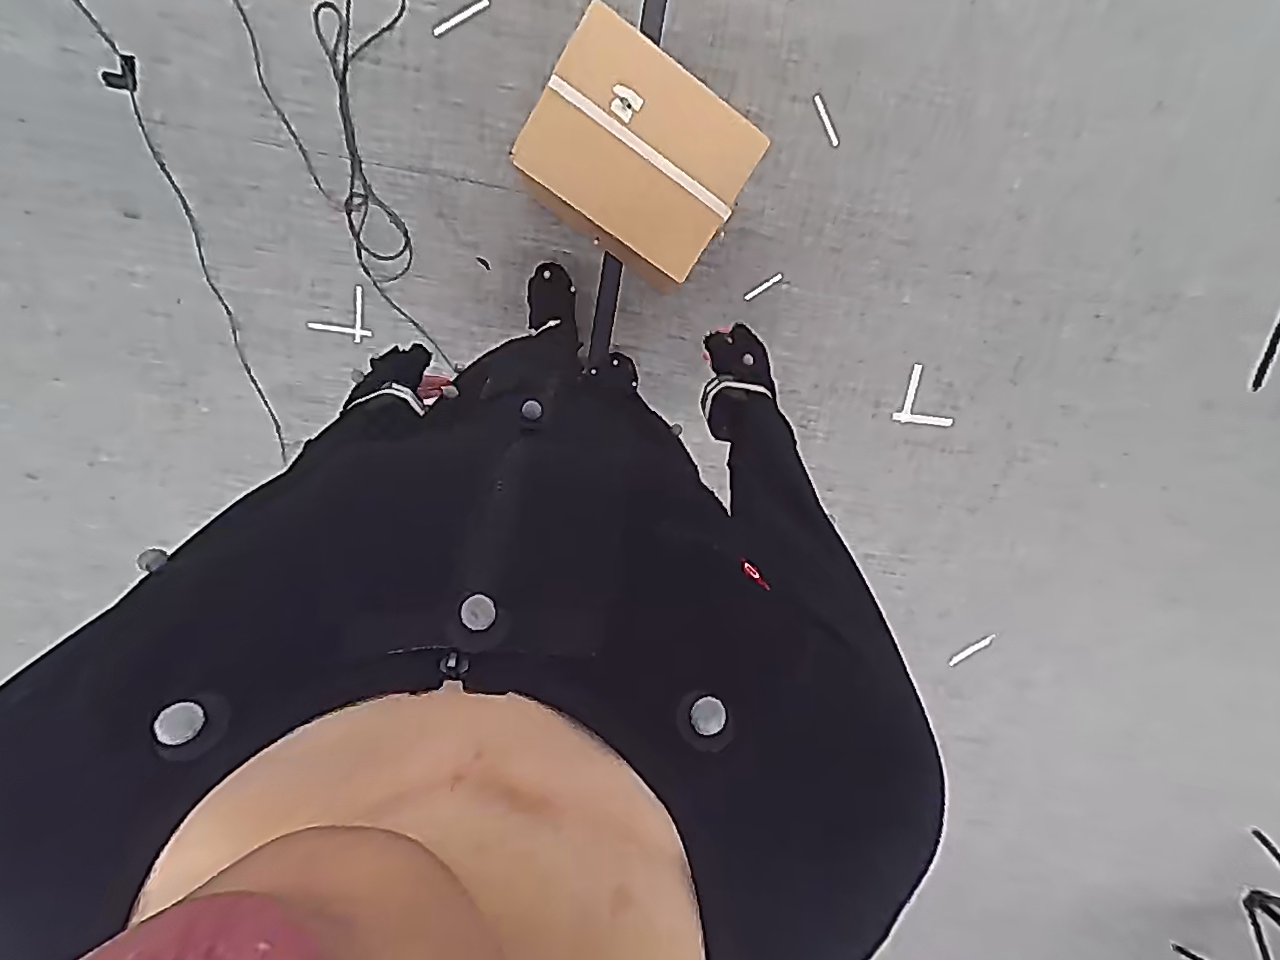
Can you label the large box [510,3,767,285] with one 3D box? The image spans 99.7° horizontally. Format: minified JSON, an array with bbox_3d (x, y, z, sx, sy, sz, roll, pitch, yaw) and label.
[{"bbox_3d":[-0.006,-0.672,1.173,0.408,0.320,0.320,32,101,-11],"label":"large box"}]
